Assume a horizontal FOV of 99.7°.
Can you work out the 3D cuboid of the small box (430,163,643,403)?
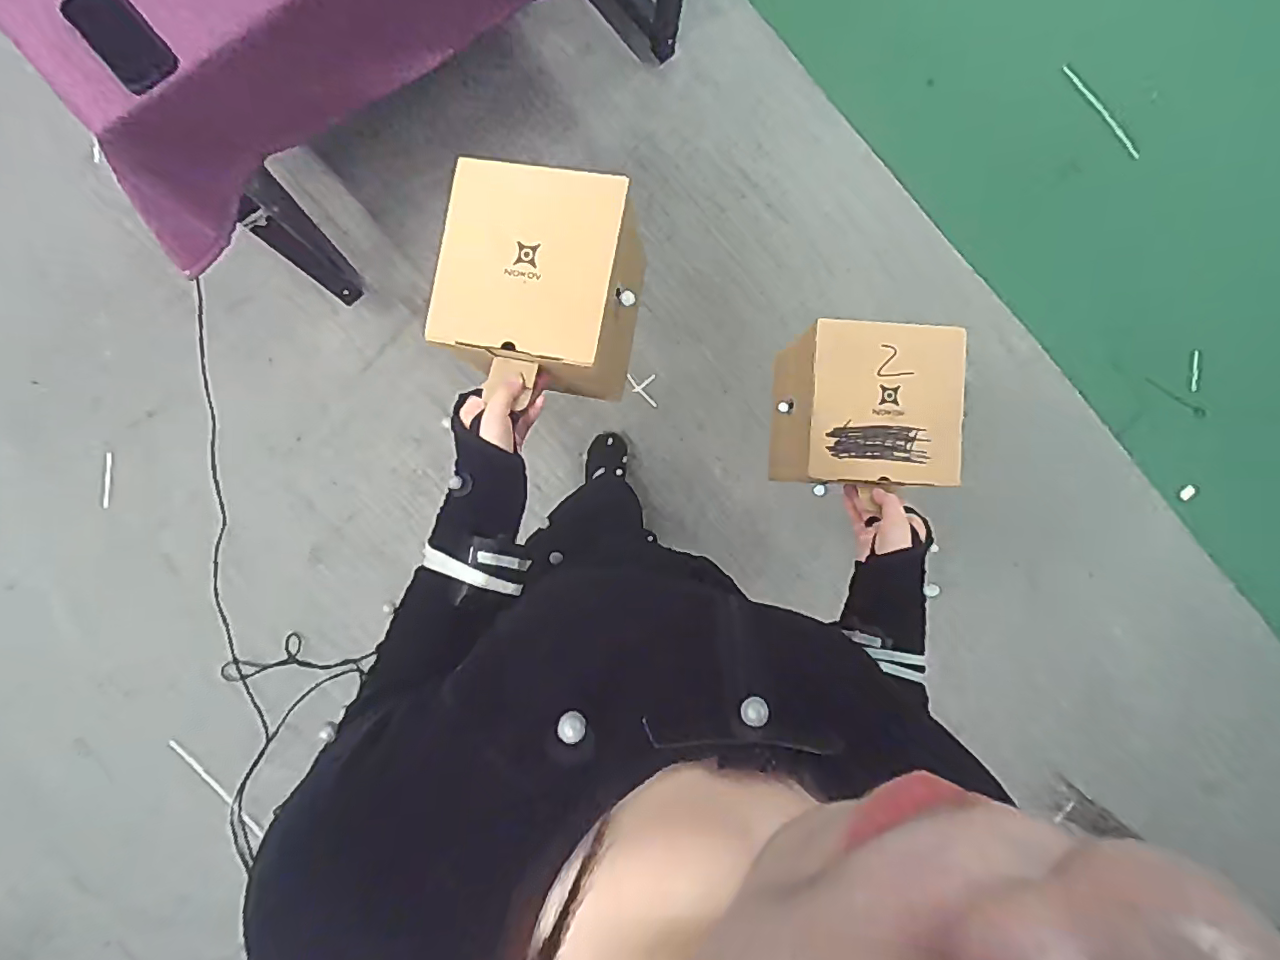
[{"bbox_3d":[-0.093,-0.193,0.575,0.168,0.176,0.179,11,89,5],"label":"small box"}]
